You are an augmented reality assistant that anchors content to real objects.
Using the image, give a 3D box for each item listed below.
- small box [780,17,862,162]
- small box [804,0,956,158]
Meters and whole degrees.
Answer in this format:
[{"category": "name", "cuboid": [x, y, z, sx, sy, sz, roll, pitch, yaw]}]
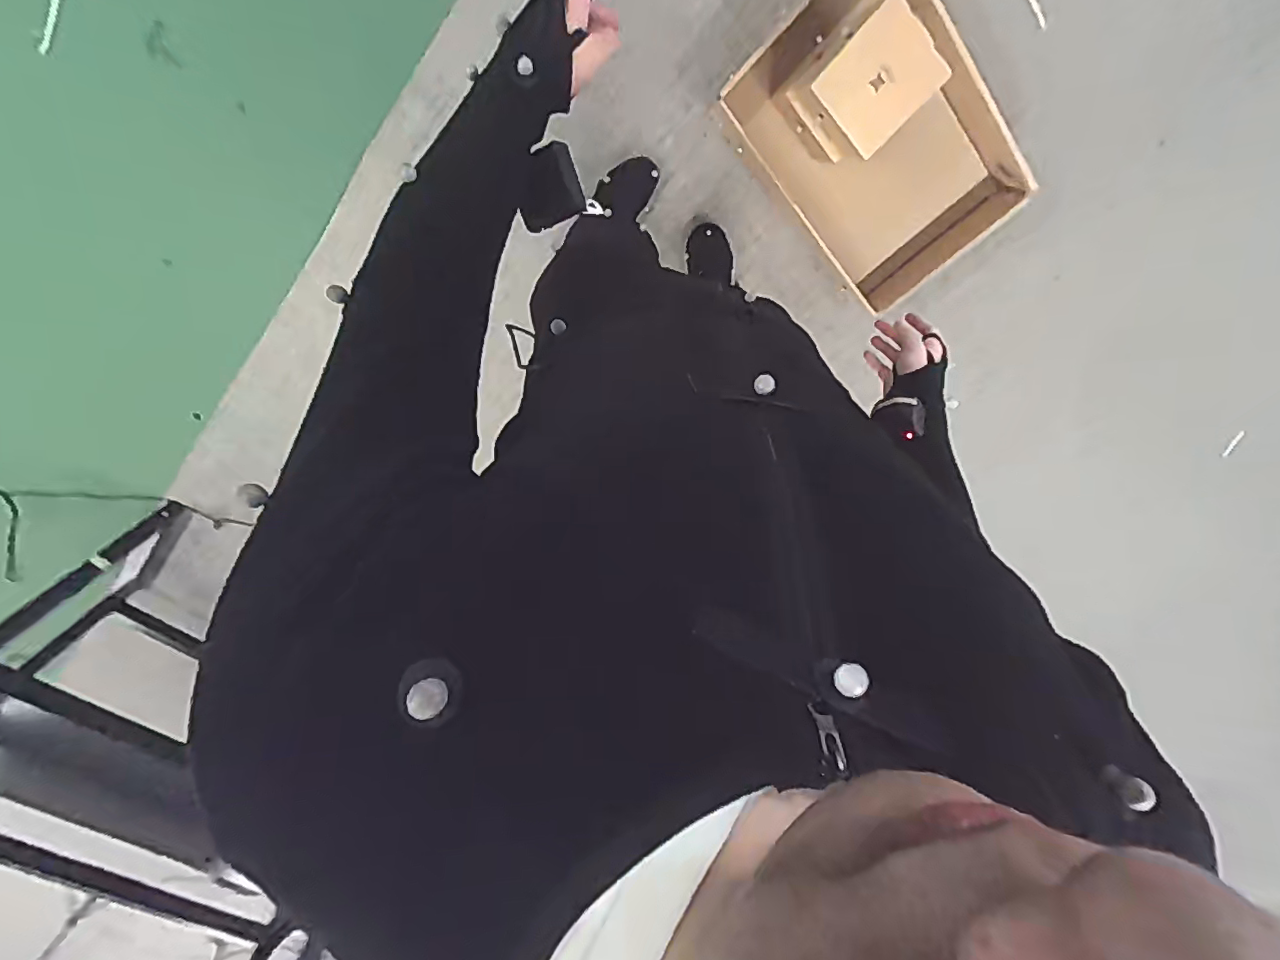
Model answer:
[{"category": "small box", "cuboid": [0.415, -0.797, 1.123, 0.179, 0.176, 0.168, 40, 116, -22]}, {"category": "small box", "cuboid": [0.418, -0.719, 0.981, 0.168, 0.176, 0.179, 39, 116, -19]}]
